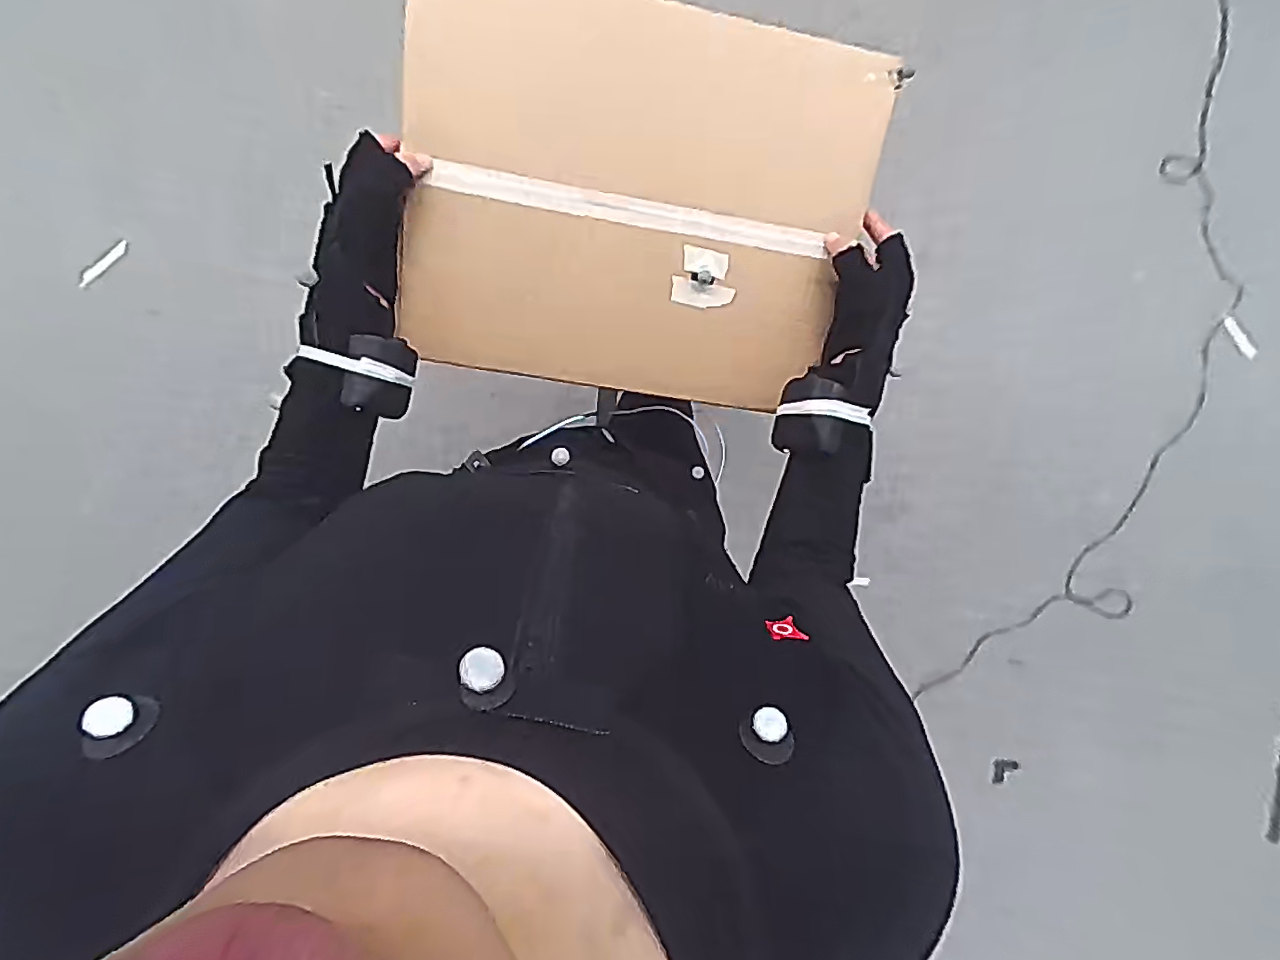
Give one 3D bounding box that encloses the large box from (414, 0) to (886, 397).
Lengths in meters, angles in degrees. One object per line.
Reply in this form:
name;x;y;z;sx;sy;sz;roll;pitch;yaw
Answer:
large box;-0.013;-0.293;0.632;0.408;0.320;0.320;7;107;-8
